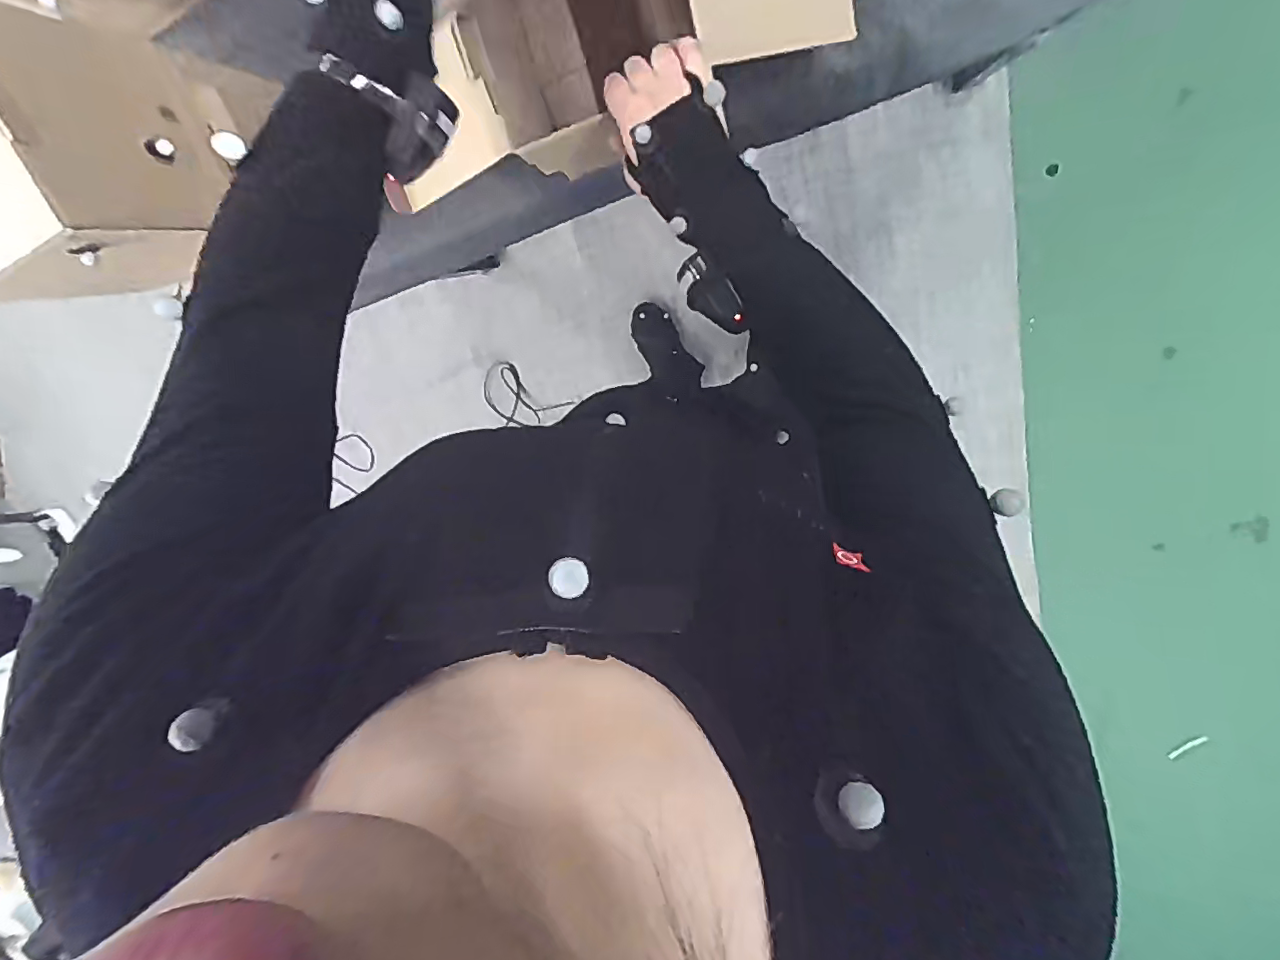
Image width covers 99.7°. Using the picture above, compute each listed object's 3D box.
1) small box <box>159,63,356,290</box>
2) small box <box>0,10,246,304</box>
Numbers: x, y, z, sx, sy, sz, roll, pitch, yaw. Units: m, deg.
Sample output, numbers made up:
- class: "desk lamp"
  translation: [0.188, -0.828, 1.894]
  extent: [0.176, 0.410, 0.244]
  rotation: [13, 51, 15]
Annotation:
- class: "small box"
  translation: [-0.463, -0.332, 0.619]
  extent: [0.179, 0.176, 0.168]
  rotation: [-11, 111, 18]
- class: "small box"
  translation: [-0.512, -0.265, 0.478]
  extent: [0.179, 0.176, 0.168]
  rotation: [-15, 110, 19]
